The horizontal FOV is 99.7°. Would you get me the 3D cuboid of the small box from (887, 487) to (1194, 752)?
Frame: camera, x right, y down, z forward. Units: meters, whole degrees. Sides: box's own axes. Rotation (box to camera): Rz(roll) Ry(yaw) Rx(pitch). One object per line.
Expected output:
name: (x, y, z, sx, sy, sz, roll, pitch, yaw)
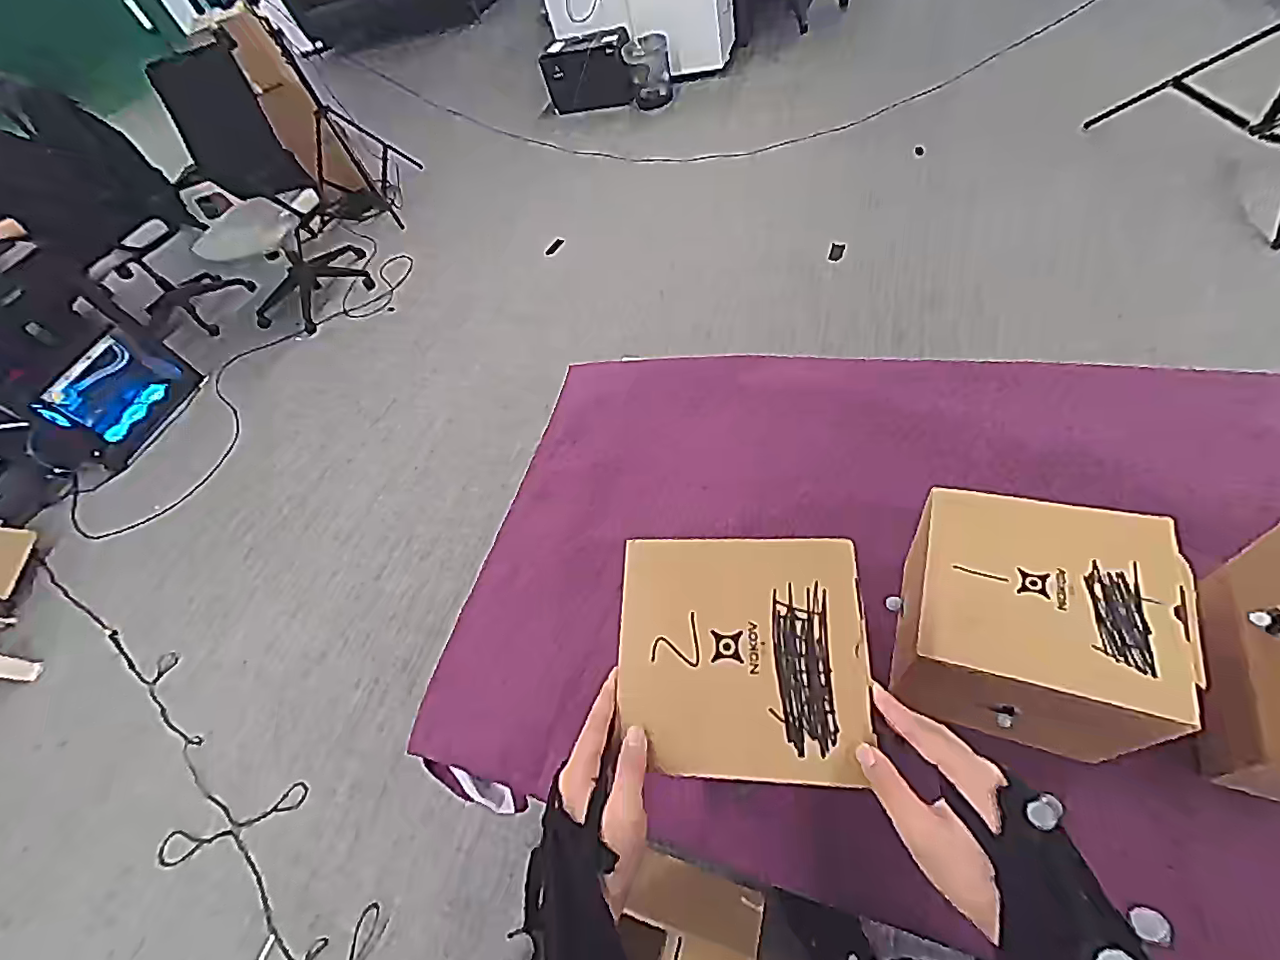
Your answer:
small box: (0.338, 0.131, 0.493, 0.179, 0.176, 0.168, 9, 59, 23)
